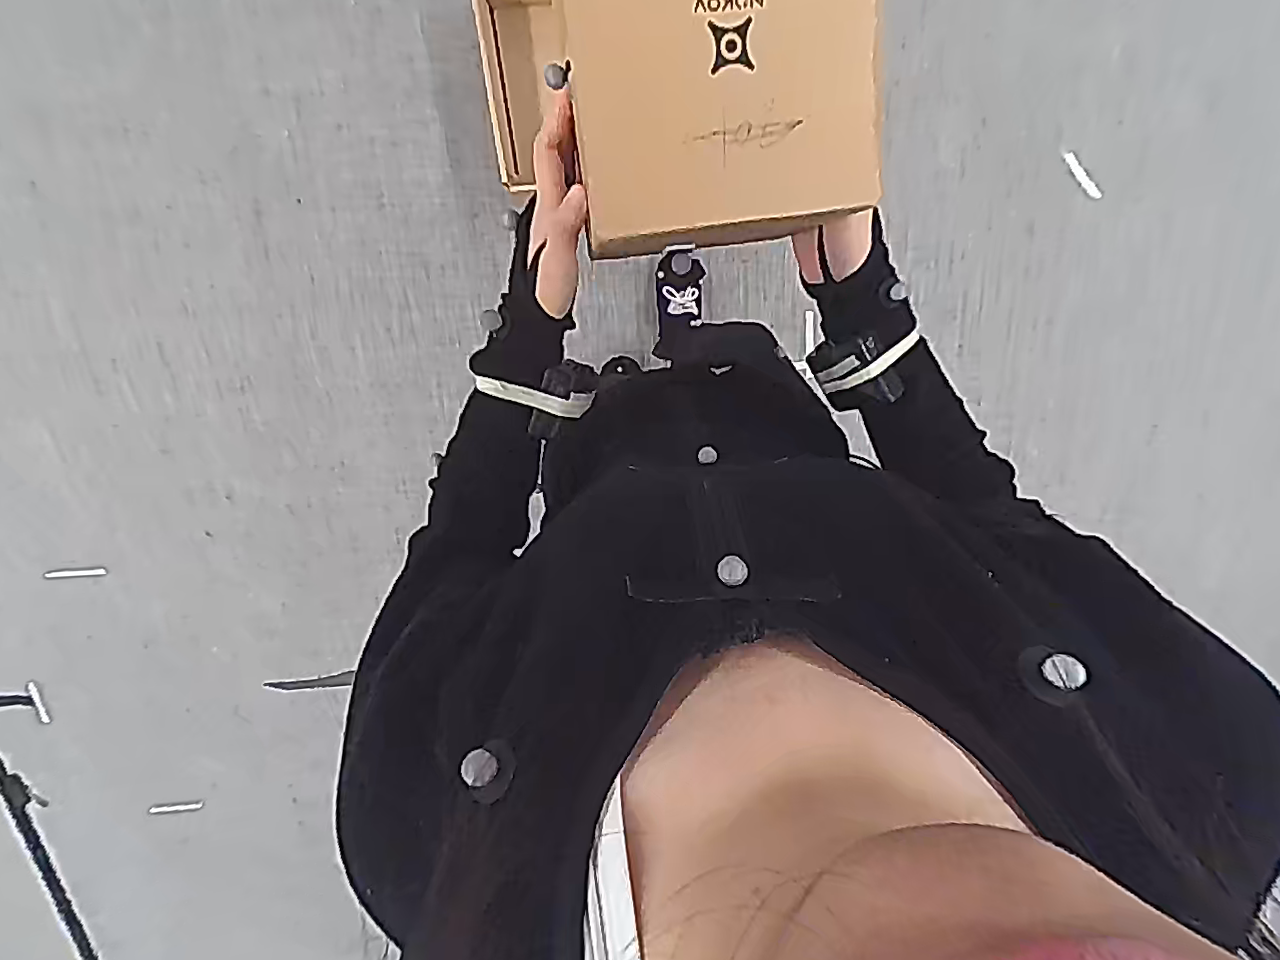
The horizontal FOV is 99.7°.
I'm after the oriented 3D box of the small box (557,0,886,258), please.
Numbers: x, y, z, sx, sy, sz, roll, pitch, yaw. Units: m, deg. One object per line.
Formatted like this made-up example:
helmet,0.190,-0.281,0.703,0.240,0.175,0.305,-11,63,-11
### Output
small box,0.038,-0.254,0.354,0.168,0.176,0.179,-9,109,-4
